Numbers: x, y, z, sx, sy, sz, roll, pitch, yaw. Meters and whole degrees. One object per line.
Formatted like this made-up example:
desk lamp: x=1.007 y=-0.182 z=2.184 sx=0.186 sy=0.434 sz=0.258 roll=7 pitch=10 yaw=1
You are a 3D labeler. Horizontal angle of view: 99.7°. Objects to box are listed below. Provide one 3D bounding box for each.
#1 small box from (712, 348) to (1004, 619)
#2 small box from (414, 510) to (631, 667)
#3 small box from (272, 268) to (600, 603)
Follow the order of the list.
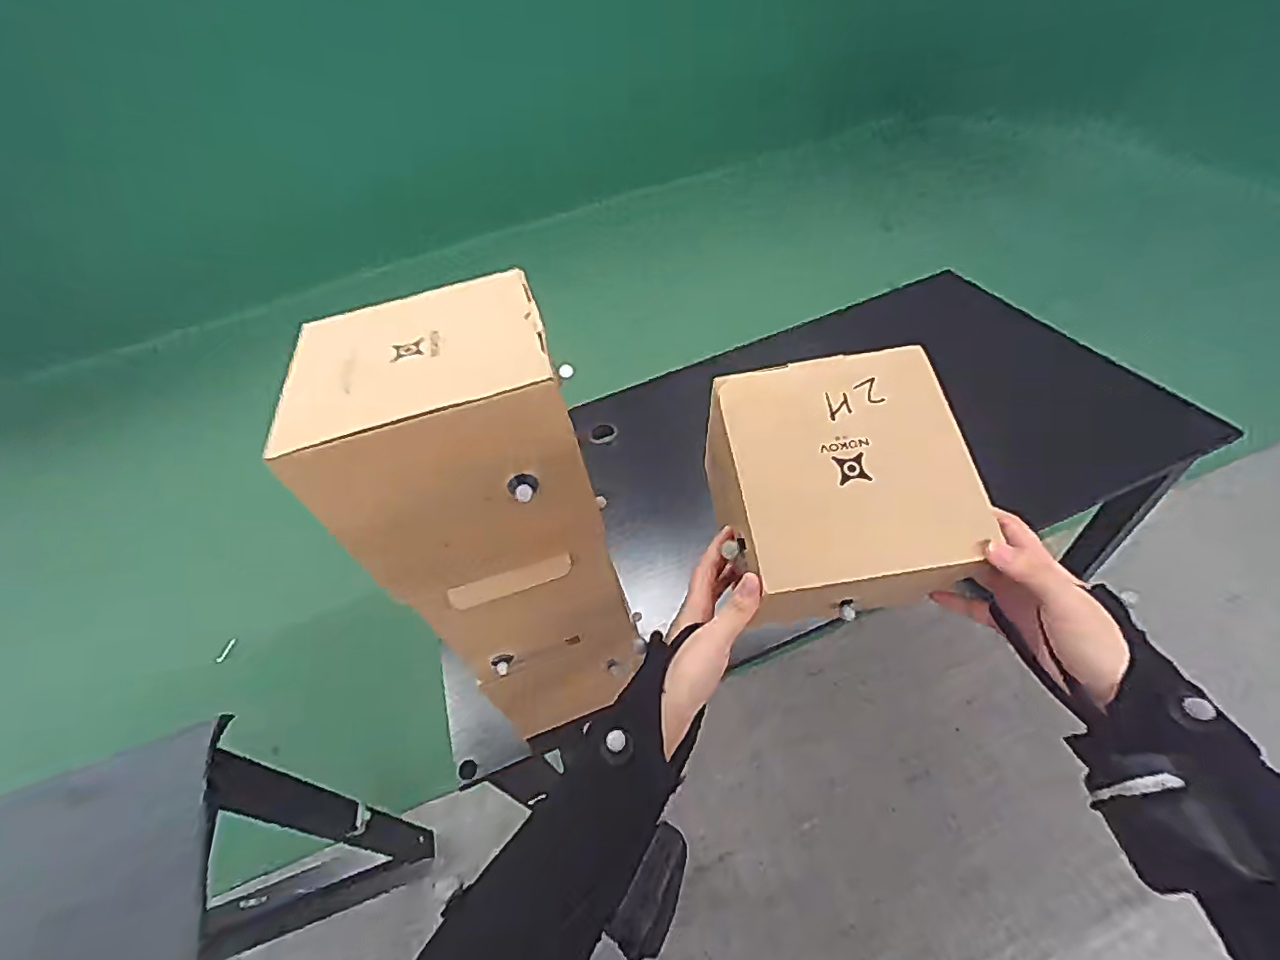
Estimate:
small box: x=0.160 y=0.017 z=0.468 sx=0.168 sy=0.176 sz=0.179 roll=-10 pitch=67 yaw=0
small box: x=-0.116 y=0.068 z=0.551 sx=0.168 sy=0.176 sz=0.179 roll=-18 pitch=47 yaw=-6
small box: x=-0.138 y=-0.033 z=0.426 sx=0.179 sy=0.176 sz=0.168 roll=-19 pitch=46 yaw=-5
